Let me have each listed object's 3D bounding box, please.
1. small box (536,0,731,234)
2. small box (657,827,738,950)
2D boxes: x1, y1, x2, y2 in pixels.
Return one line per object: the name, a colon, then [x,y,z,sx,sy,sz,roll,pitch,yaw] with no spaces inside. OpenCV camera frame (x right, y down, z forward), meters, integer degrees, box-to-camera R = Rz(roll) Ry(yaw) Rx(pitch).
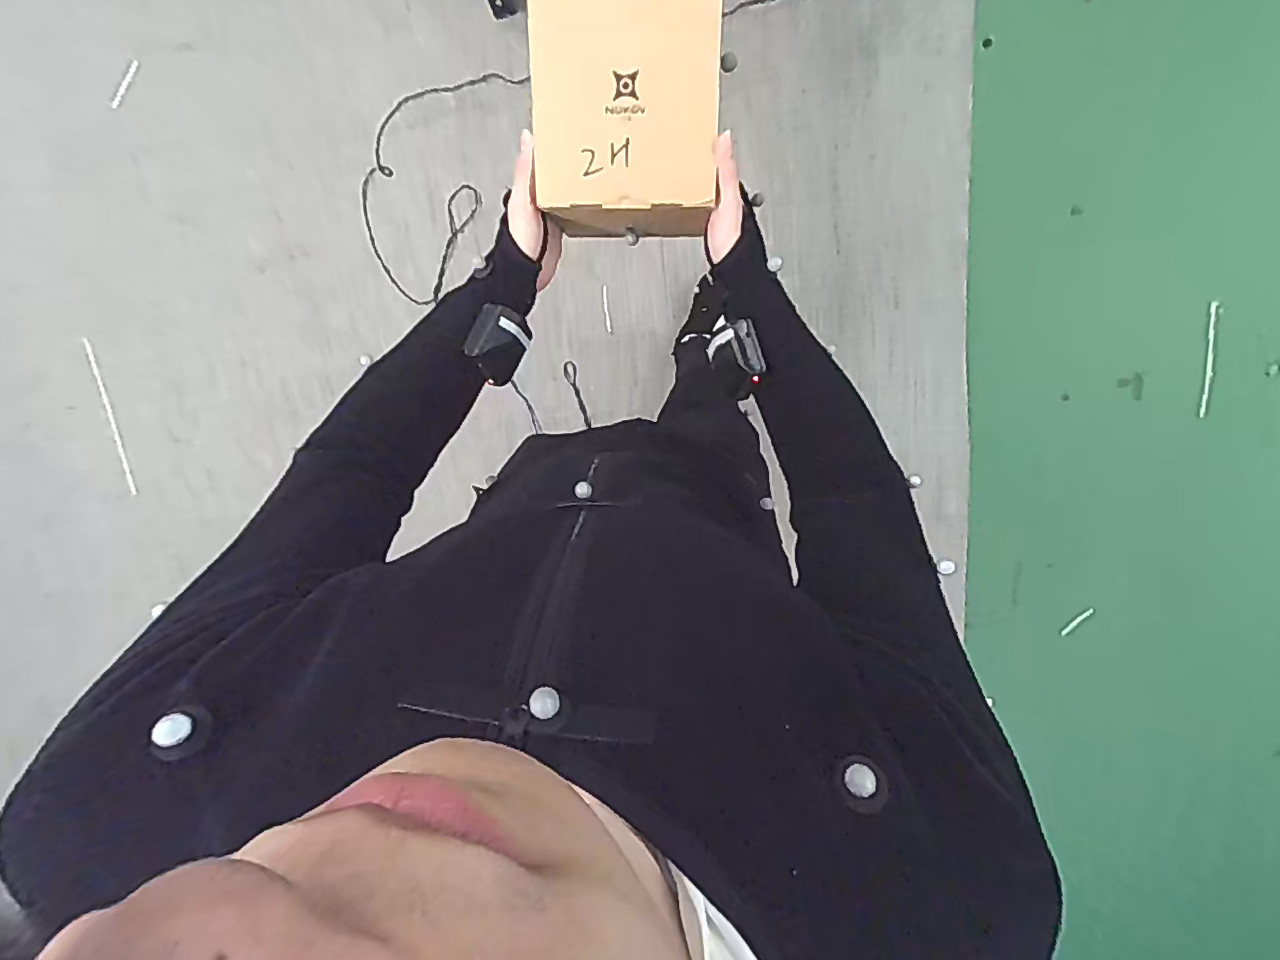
small box: [-0.005,-0.357,0.542,0.168,0.176,0.179,0,105,2]
small box: [0.133,0.966,1.297,0.168,0.176,0.179,-8,103,3]
